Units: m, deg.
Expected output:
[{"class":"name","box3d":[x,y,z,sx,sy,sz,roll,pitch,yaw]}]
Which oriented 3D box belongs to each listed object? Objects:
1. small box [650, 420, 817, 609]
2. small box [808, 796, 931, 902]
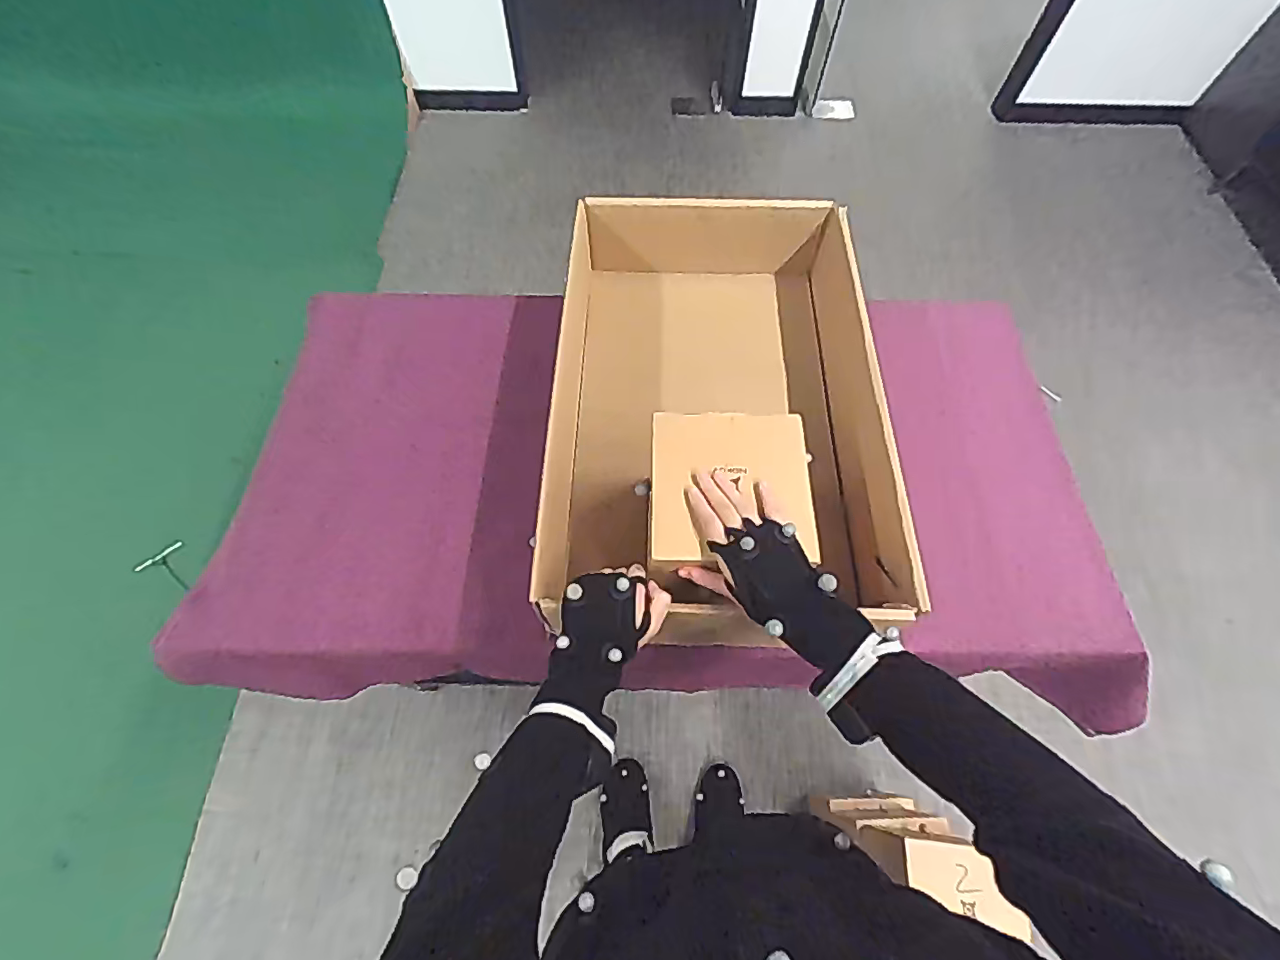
[{"class":"small box","box3d":[0.096,0.048,0.634,0.168,0.176,0.179,0,62,1]},{"class":"small box","box3d":[0.473,0.771,1.144,0.179,0.176,0.168,-1,63,0]}]
